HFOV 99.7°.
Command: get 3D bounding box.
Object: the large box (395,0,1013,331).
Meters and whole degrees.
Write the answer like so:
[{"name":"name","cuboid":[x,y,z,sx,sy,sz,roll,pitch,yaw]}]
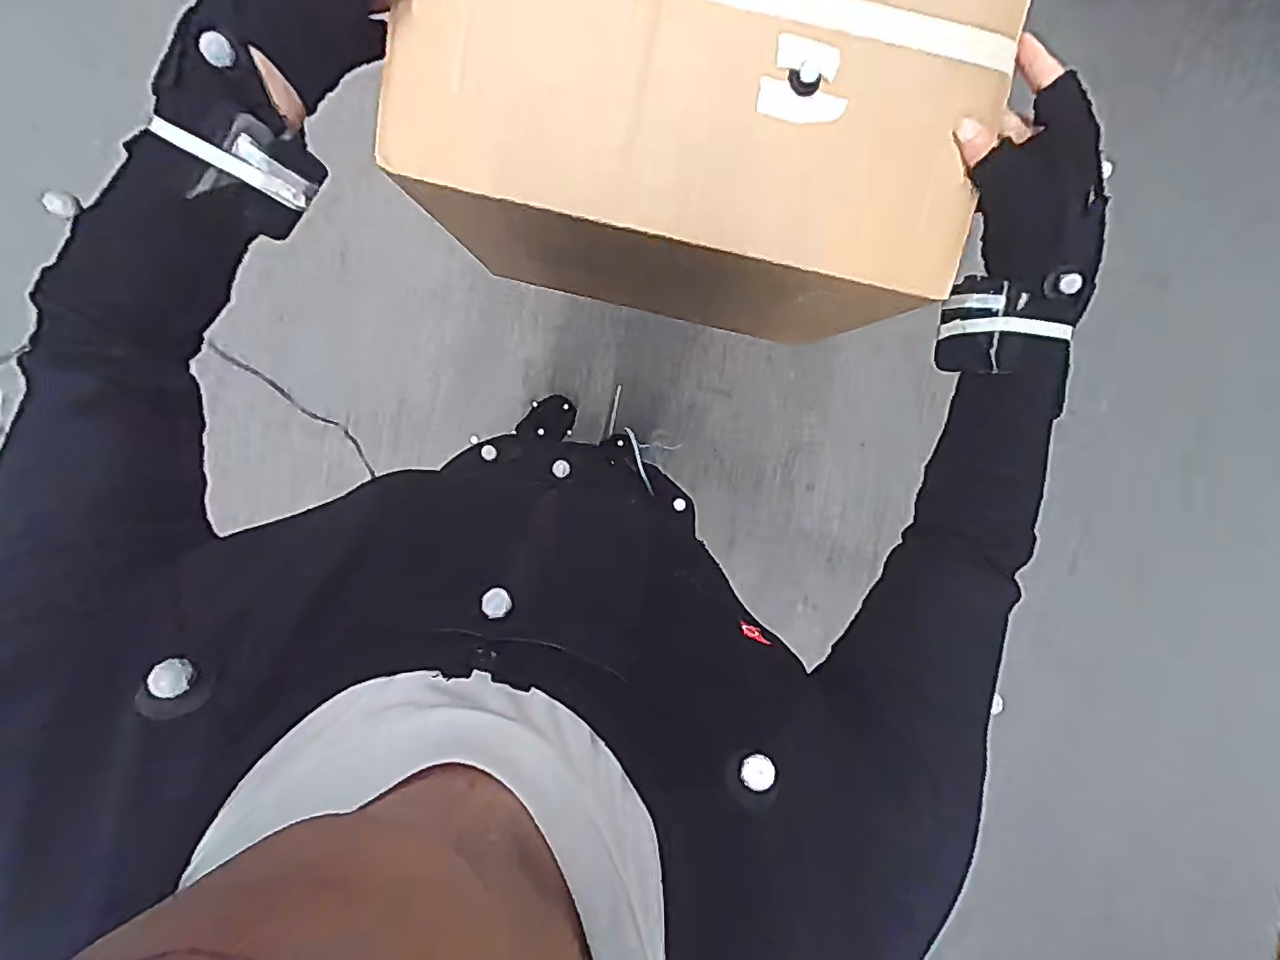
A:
[{"name":"large box","cuboid":[0.046,-0.348,0.509,0.408,0.320,0.320,11,99,-3]}]
